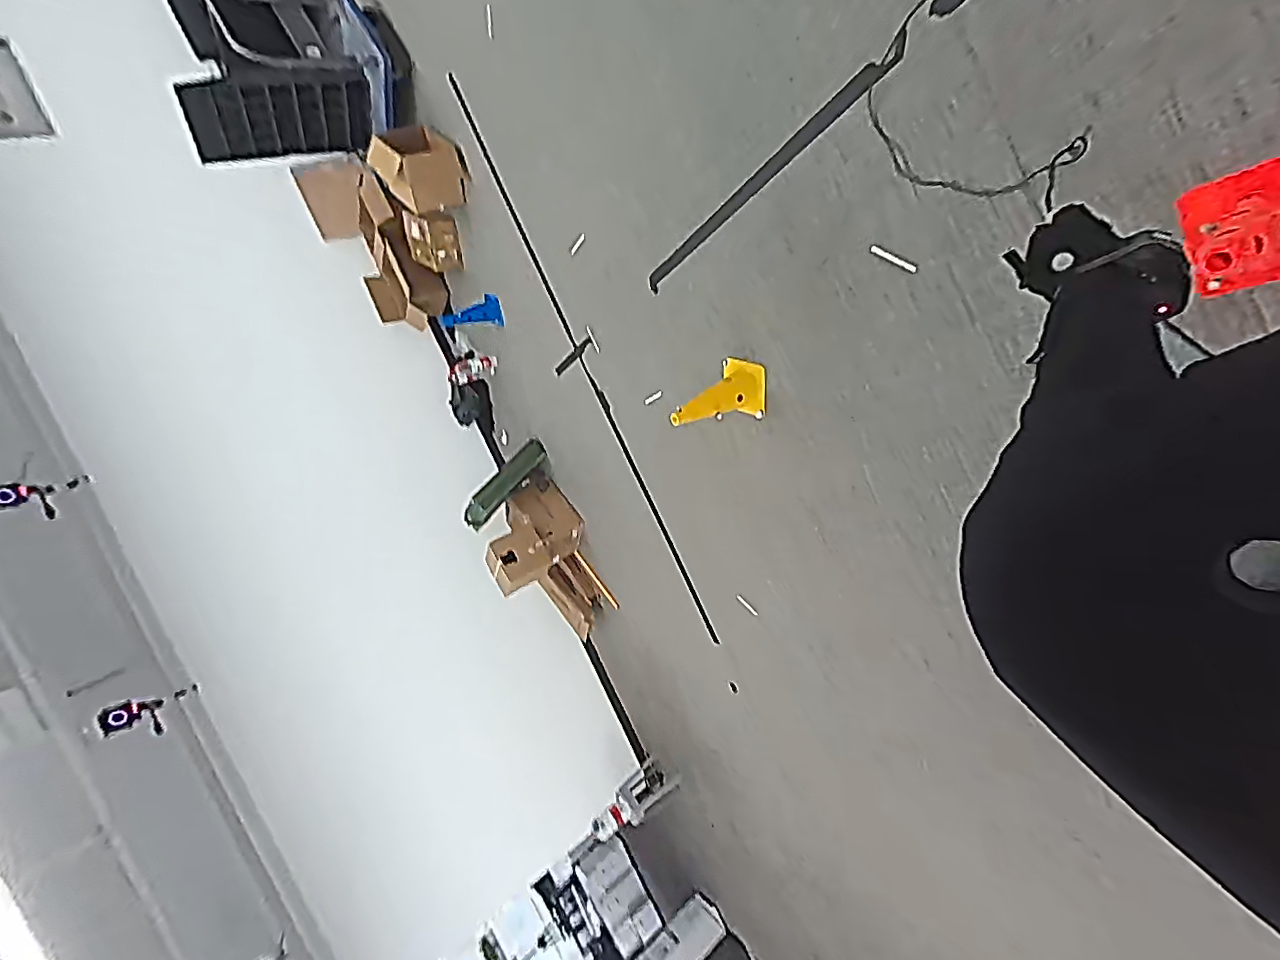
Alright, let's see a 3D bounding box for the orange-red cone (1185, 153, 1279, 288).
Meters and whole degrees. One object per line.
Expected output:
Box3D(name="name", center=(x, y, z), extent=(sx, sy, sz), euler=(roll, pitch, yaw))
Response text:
Box3D(name="orange-red cone", center=(0.926, -0.376, 0.823), extent=(0.199, 0.360, 0.198), euler=(-4, 109, 60))
